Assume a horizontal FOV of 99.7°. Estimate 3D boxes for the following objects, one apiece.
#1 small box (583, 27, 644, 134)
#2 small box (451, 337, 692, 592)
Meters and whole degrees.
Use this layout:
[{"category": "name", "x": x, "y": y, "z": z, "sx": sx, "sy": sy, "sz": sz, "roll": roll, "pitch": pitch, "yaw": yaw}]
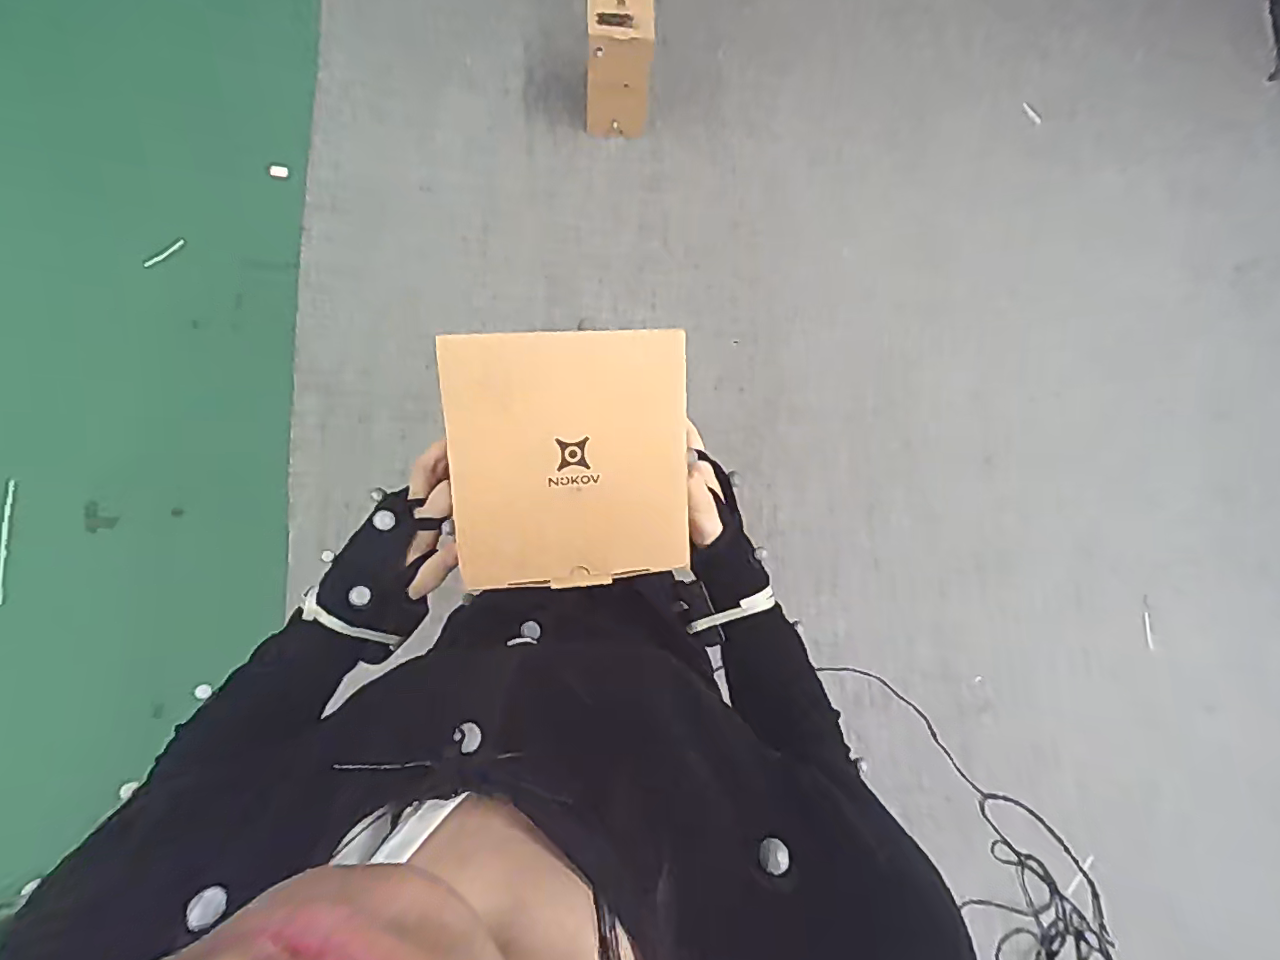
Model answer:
[{"category": "small box", "x": -0.079, "y": -1.144, "z": 1.558, "sx": 0.168, "sy": 0.176, "sz": 0.179, "roll": 0, "pitch": 85, "yaw": -6}, {"category": "small box", "x": -0.059, "y": -0.025, "z": 0.457, "sx": 0.168, "sy": 0.176, "sz": 0.179, "roll": -4, "pitch": 103, "yaw": -11}]
